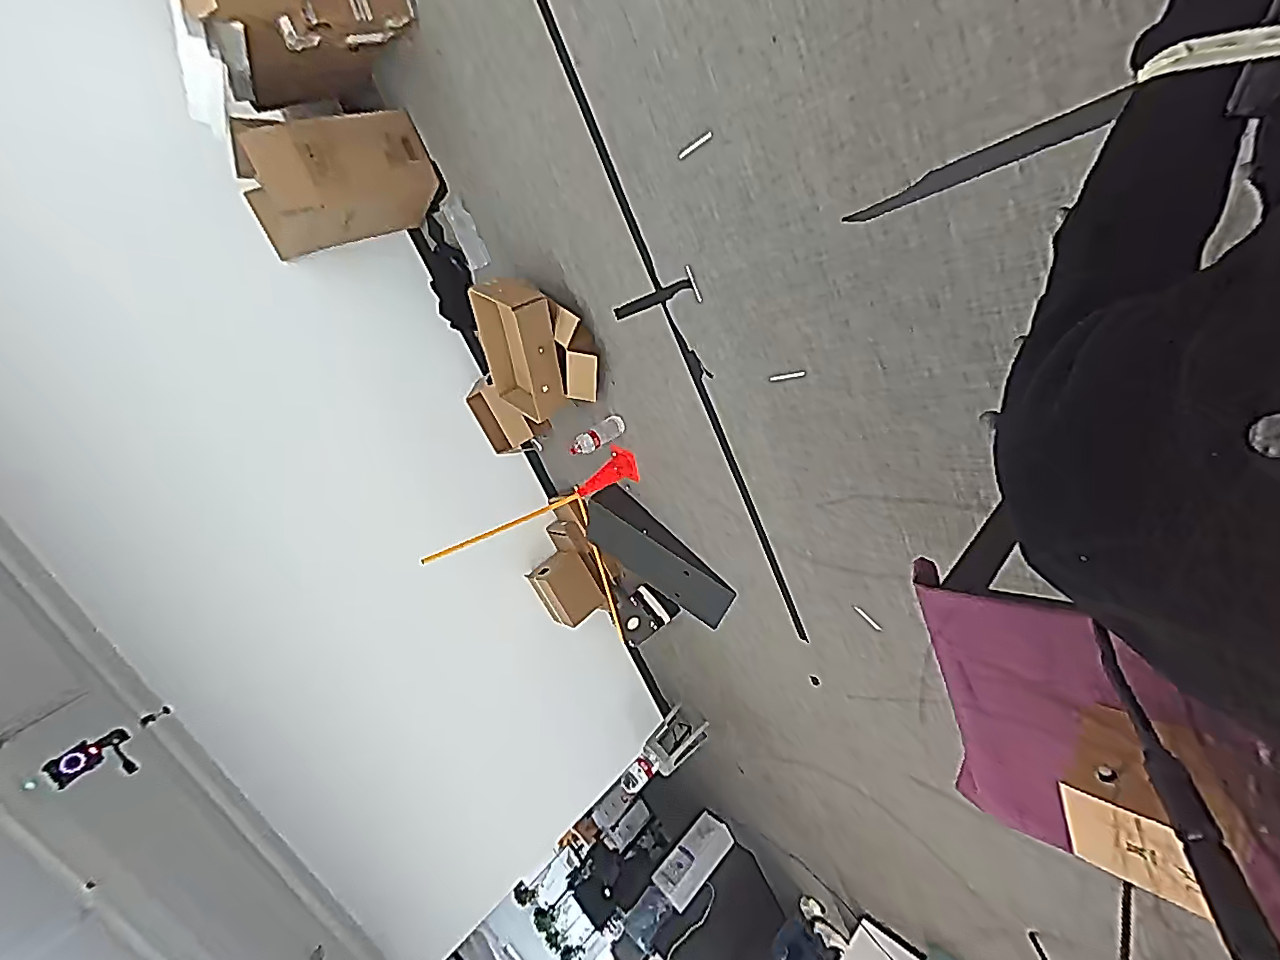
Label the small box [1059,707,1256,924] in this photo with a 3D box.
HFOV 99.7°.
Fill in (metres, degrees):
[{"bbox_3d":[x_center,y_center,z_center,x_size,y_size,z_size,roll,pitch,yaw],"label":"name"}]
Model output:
[{"bbox_3d":[0.748,0.463,0.782,0.179,0.176,0.168,3,124,54],"label":"small box"}]
